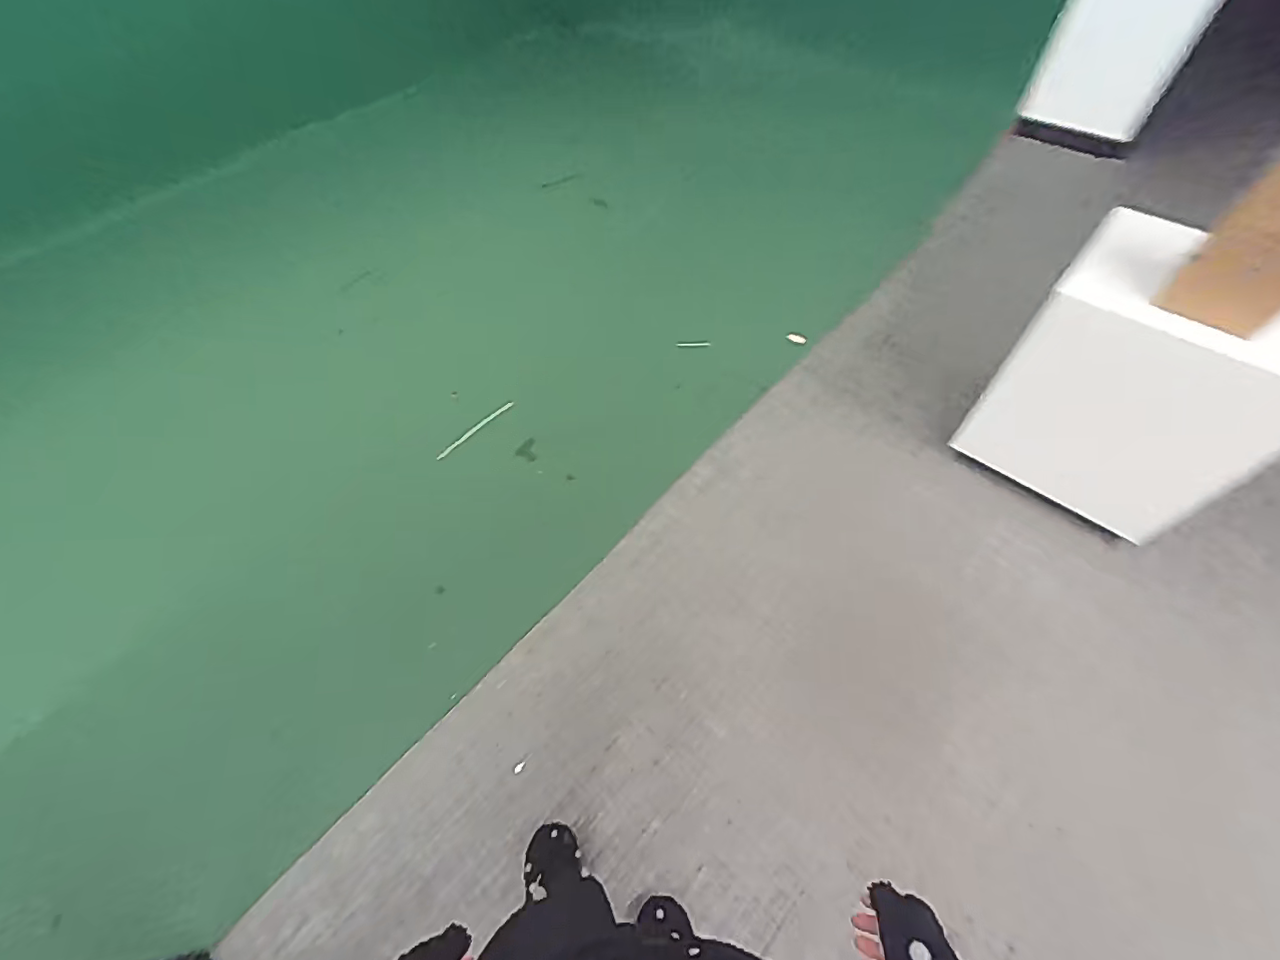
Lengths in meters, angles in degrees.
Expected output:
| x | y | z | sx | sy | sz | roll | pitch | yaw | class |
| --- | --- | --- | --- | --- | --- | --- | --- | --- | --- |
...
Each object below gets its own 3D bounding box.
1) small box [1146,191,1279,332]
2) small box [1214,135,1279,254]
| x | y | z | sx | sy | sz | roll | pitch | yaw | class |
| --- | --- | --- | --- | --- | --- | --- | --- | --- | --- |
| 1.155 | -0.421 | 1.053 | 0.179 | 0.176 | 0.168 | 35 | 66 | 23 | small box |
| 1.148 | -0.509 | 0.919 | 0.168 | 0.176 | 0.179 | 34 | 66 | 22 | small box |
